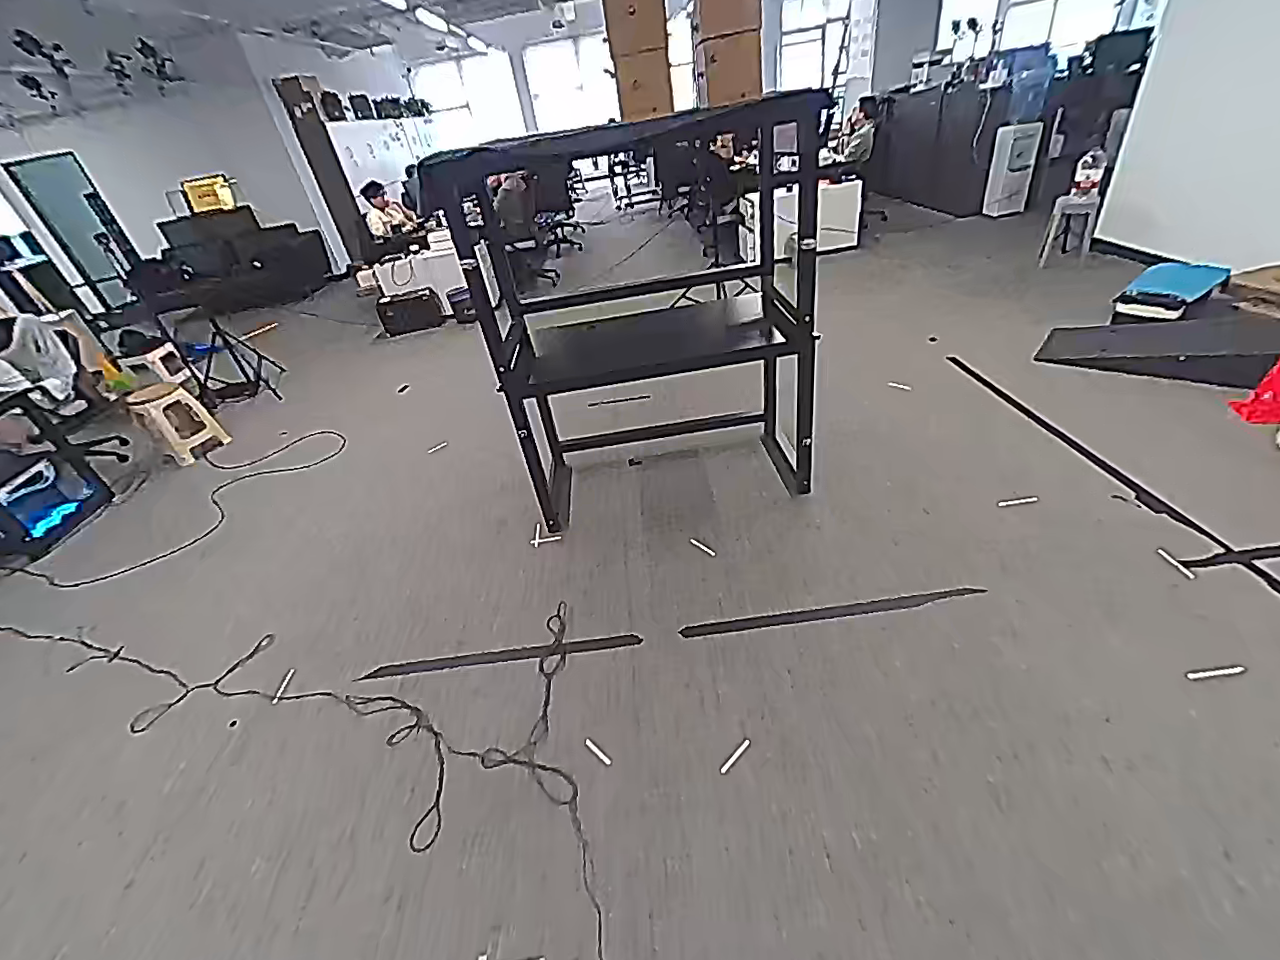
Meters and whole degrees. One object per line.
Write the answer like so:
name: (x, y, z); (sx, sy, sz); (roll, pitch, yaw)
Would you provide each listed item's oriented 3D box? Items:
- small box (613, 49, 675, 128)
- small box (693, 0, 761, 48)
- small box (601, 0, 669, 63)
small box: (0.015, -1.200, 1.667); (0.168, 0.176, 0.179); (-7, 33, 5)
small box: (0.247, -1.362, 1.547); (0.179, 0.176, 0.168); (-10, 32, 4)
small box: (-0.012, -1.330, 1.569); (0.179, 0.176, 0.168); (-8, 32, 6)
